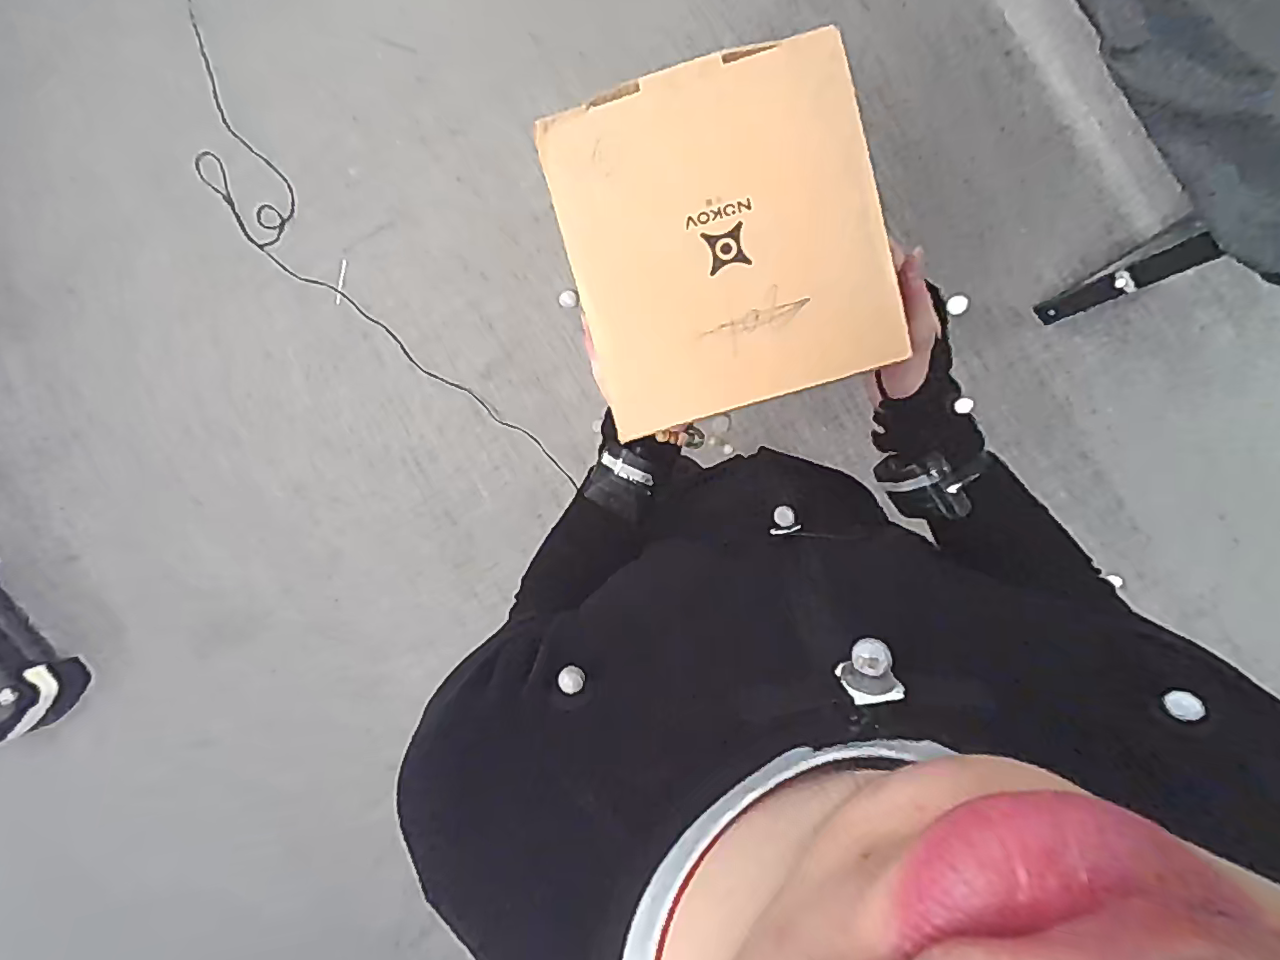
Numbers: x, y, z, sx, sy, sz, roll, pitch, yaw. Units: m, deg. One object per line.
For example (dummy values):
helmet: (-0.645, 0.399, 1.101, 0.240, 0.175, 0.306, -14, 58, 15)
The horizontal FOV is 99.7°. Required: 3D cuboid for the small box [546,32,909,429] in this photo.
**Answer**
small box: (0.050, -0.138, 0.370, 0.168, 0.176, 0.179, -15, 96, 4)
